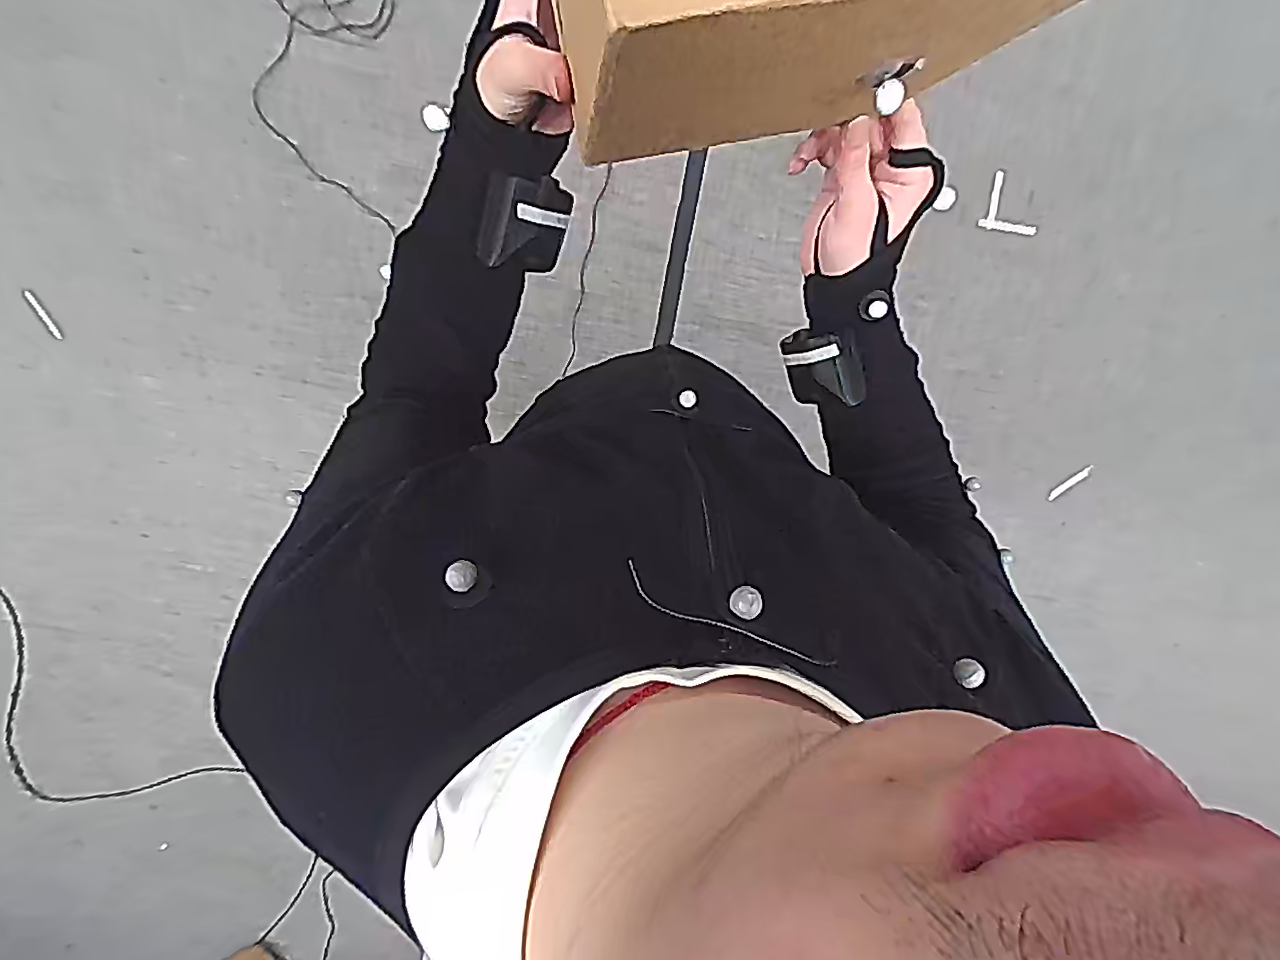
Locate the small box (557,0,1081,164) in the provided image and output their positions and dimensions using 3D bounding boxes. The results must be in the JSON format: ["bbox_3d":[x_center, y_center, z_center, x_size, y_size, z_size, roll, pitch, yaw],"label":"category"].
[{"bbox_3d":[0.052,-0.249,0.218,0.179,0.176,0.168,-13,109,-4],"label":"small box"}]
